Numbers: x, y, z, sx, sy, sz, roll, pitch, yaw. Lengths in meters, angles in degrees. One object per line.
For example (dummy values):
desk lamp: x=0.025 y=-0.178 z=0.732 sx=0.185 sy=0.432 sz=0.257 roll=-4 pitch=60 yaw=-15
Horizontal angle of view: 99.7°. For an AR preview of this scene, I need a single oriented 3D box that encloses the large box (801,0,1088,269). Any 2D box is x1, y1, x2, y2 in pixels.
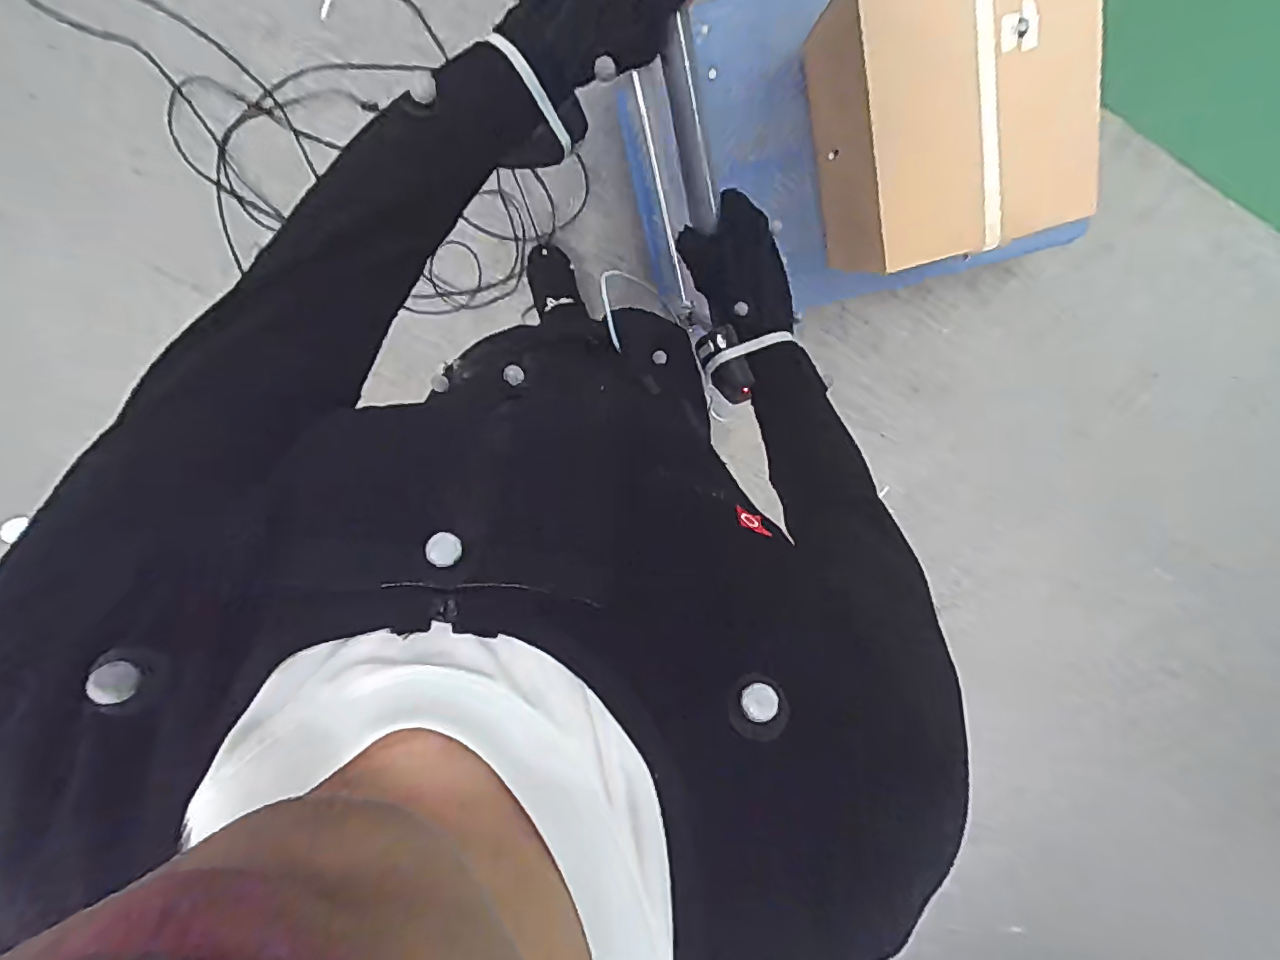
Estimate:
large box: x=0.489 y=-0.609 z=0.916 sx=0.320 sy=0.320 sz=0.408 roll=-14 pitch=110 yaw=7
